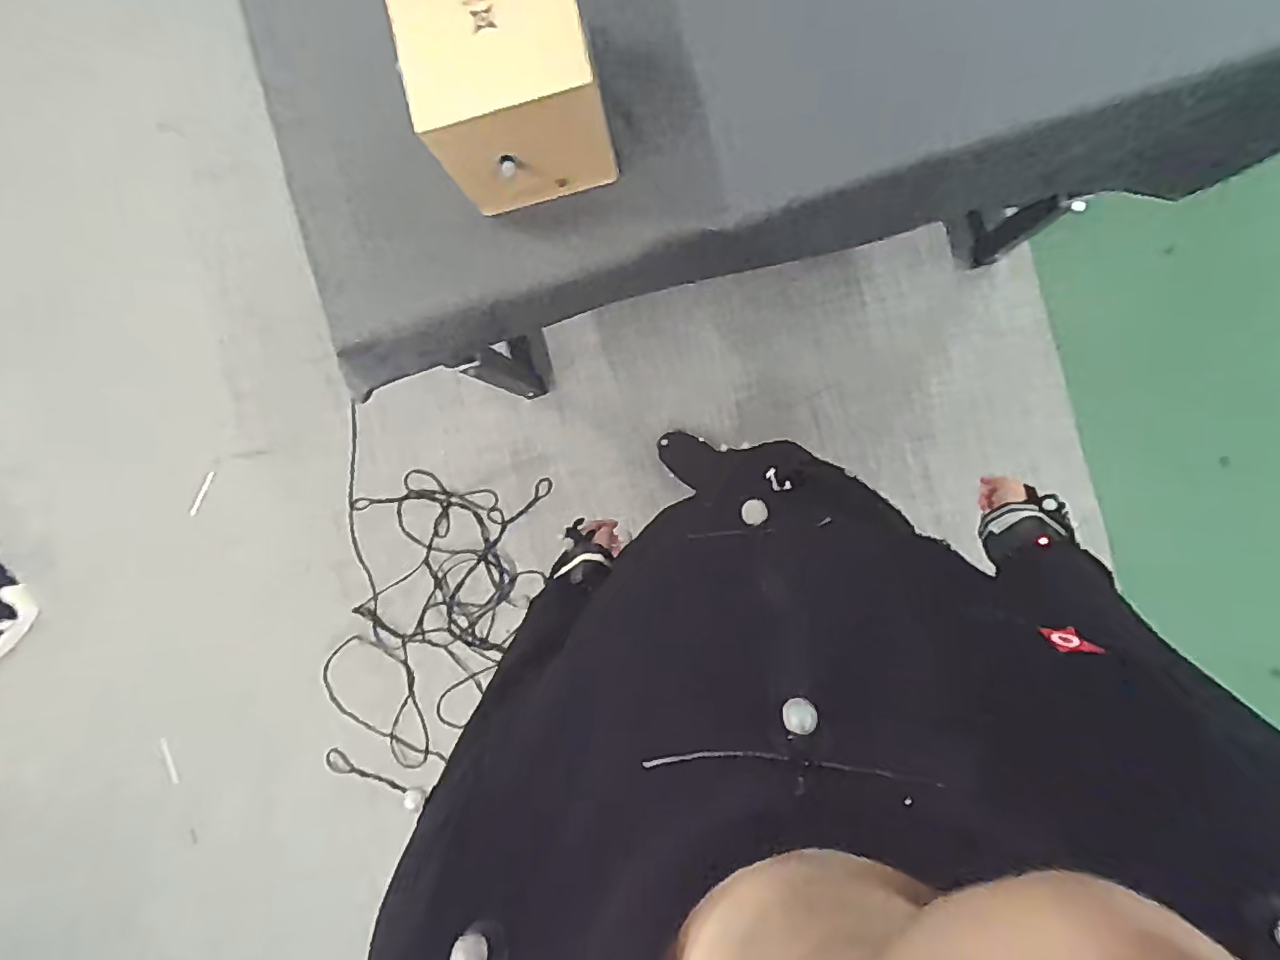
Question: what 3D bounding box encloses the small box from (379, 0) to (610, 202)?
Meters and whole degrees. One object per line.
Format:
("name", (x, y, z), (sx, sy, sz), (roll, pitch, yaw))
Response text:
("small box", (-0.136, -0.412, 0.548), (0.168, 0.176, 0.179), (-13, 89, 6))
